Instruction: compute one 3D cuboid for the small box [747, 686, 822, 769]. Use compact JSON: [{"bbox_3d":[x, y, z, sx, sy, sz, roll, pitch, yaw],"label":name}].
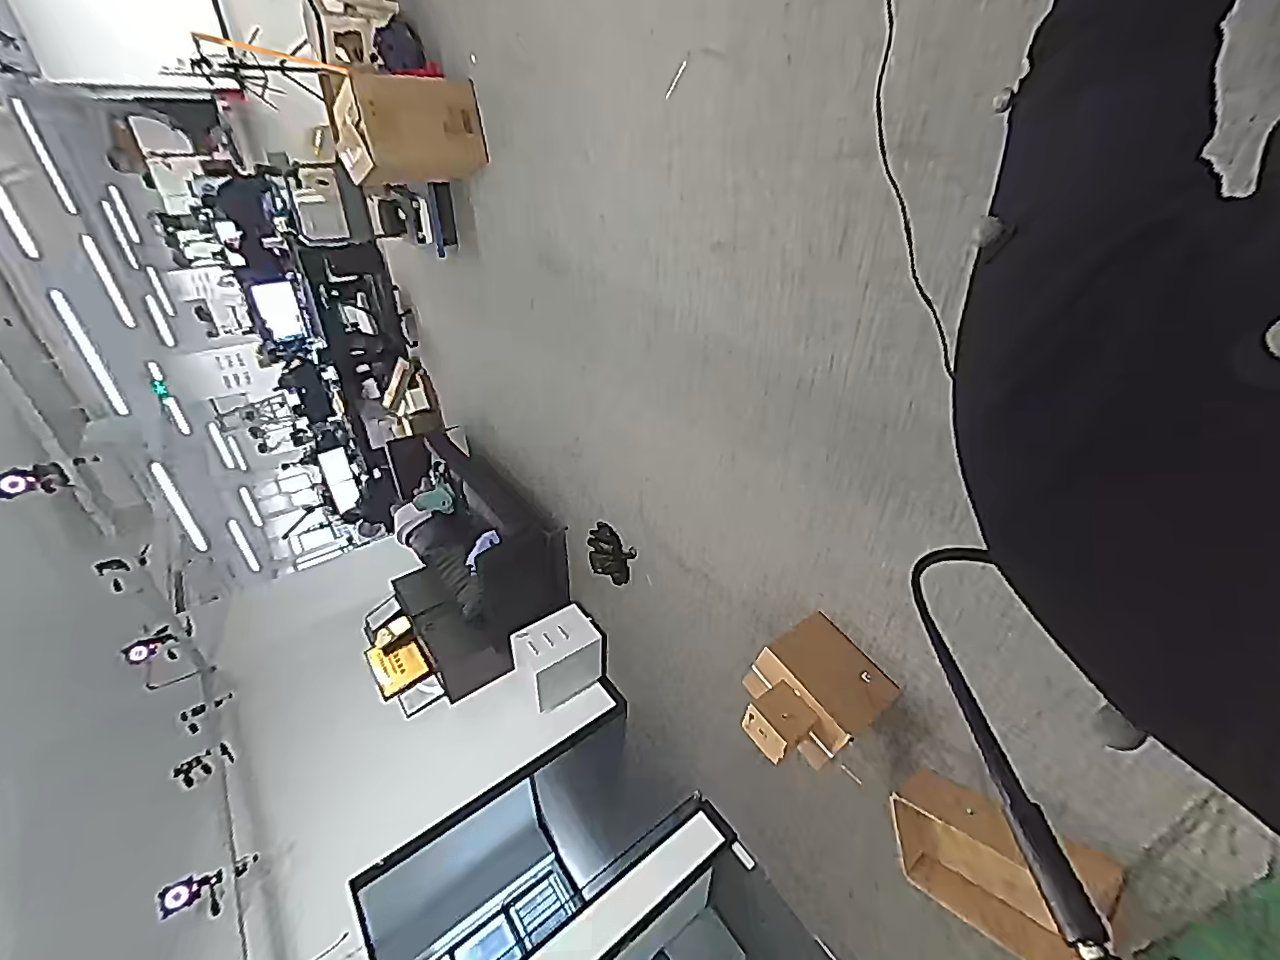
[{"bbox_3d":[0.516,0.875,1.927,0.179,0.176,0.168,42,140,36],"label":"small box"}]
